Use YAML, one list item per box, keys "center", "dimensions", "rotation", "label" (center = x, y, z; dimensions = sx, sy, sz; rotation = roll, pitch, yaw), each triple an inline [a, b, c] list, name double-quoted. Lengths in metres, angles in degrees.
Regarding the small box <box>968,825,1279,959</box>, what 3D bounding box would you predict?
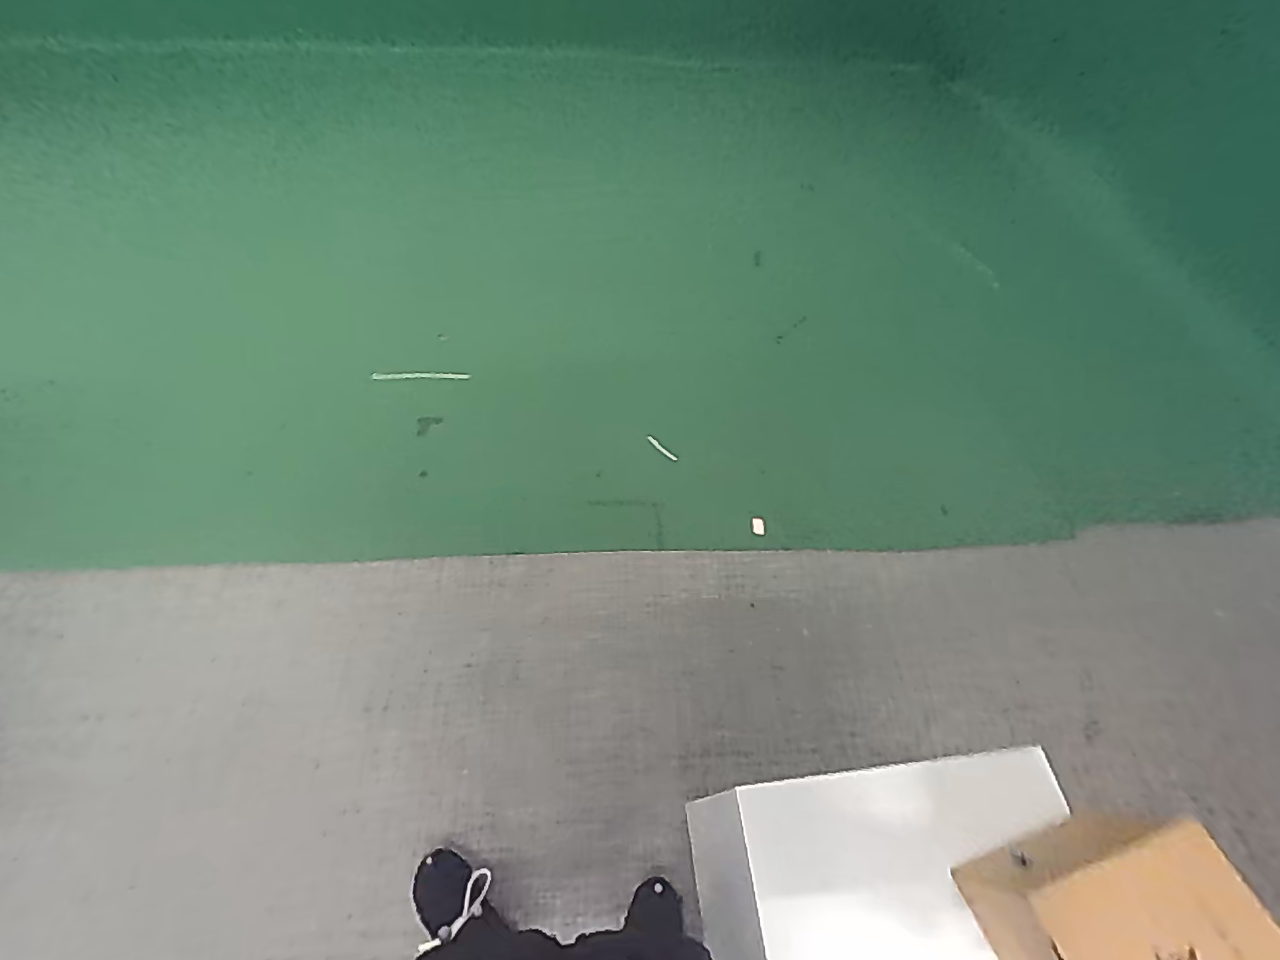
- center: [0.442, 0.443, 0.498]
  dimensions: [0.179, 0.176, 0.168]
  rotation: [-19, 60, -6]
  label: "small box"
